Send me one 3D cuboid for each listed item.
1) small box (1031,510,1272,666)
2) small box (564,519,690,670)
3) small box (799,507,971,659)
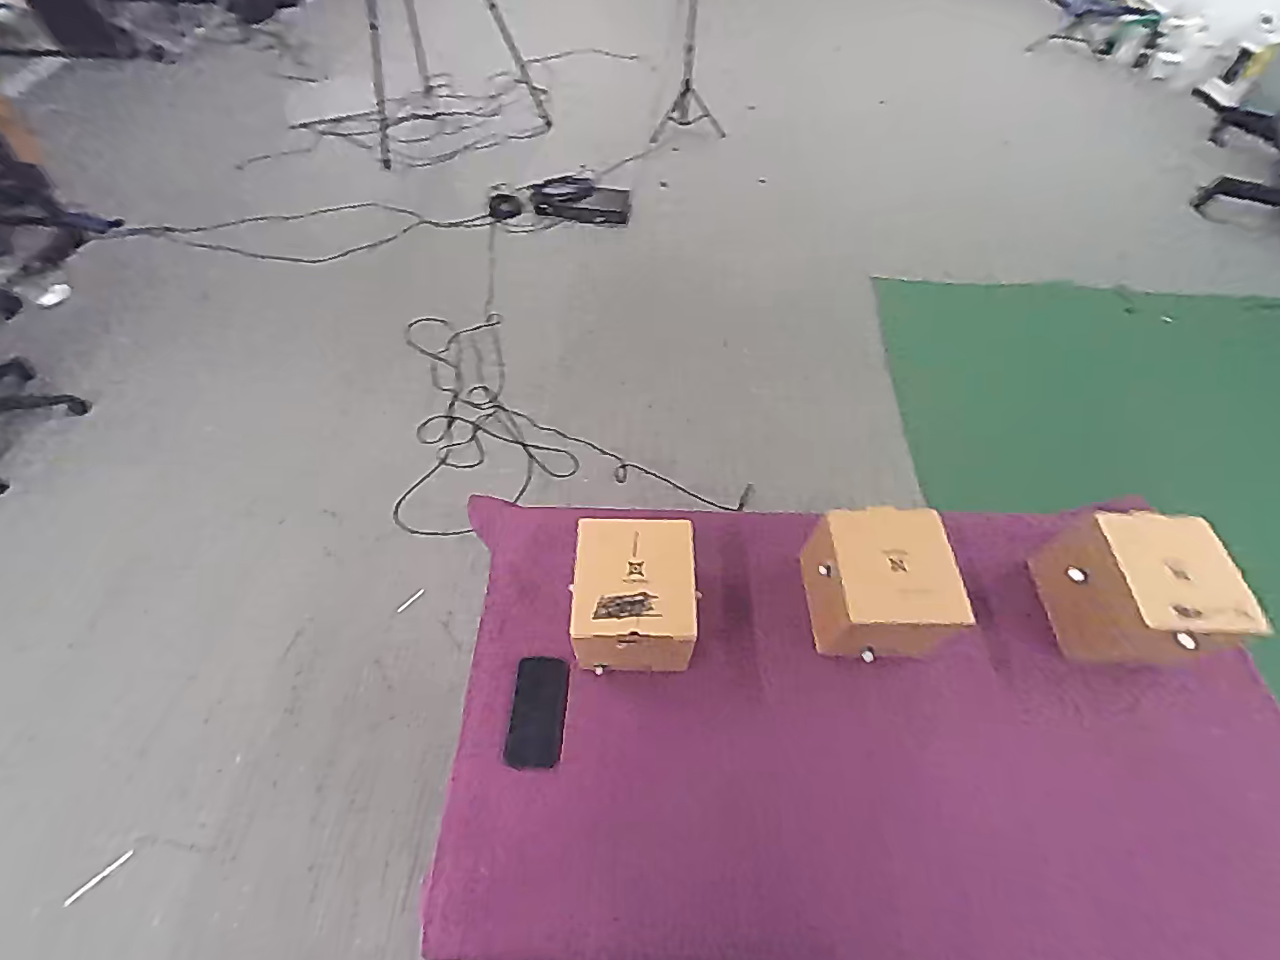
[{"bbox_3d":[0.739,0.165,0.813,0.168,0.176,0.179,2,55,2],"label":"small box"},{"bbox_3d":[-0.015,0.174,0.798,0.168,0.176,0.179,1,55,0],"label":"small box"},{"bbox_3d":[0.350,0.158,0.815,0.168,0.176,0.179,0,56,0],"label":"small box"}]
